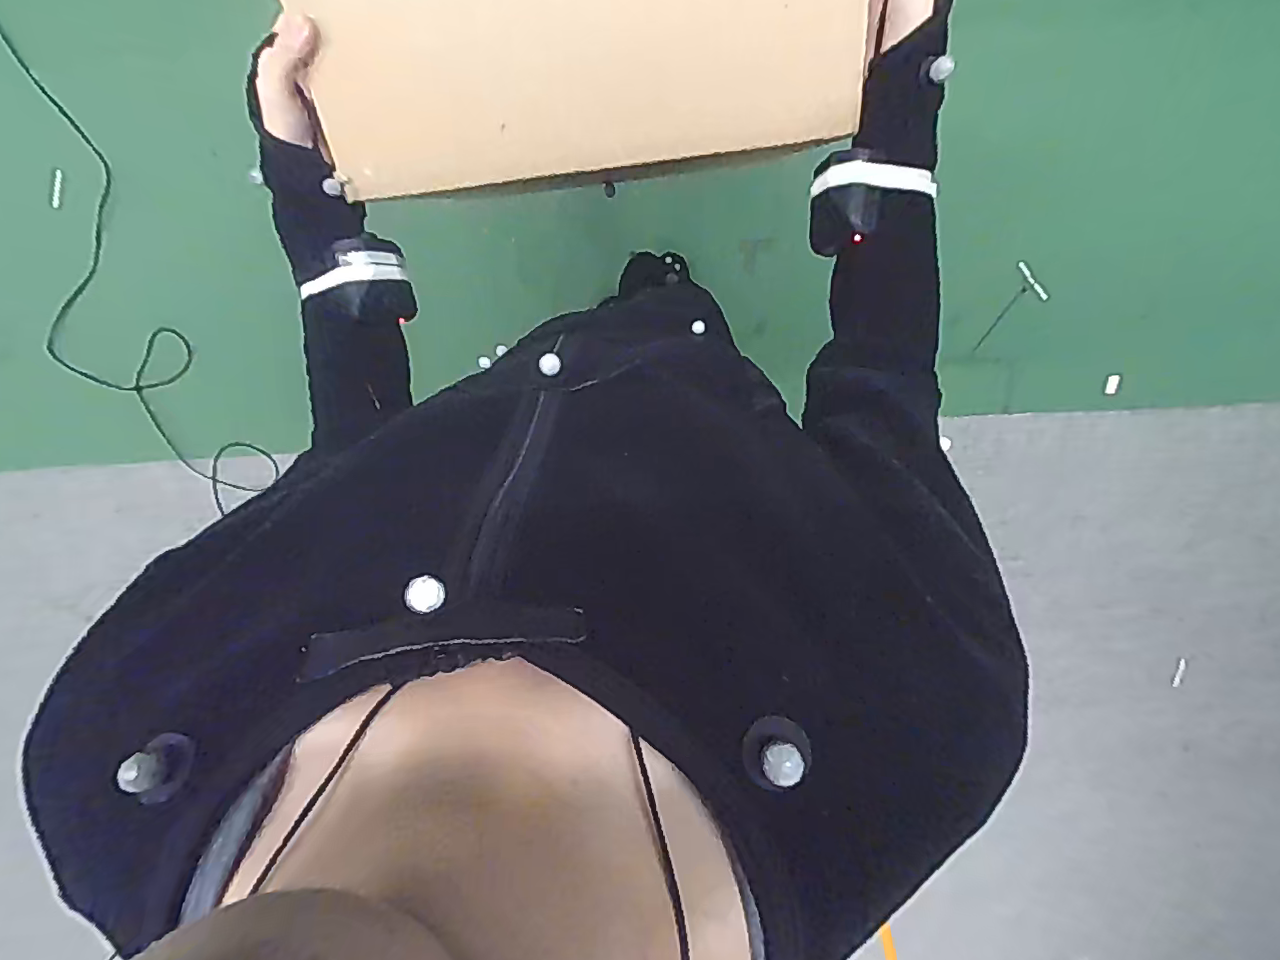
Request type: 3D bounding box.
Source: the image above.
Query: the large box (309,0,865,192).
[{"bbox_3d":[-0.043,-0.465,0.493,0.408,0.320,0.320,-6,117,4],"label":"large box"}]
